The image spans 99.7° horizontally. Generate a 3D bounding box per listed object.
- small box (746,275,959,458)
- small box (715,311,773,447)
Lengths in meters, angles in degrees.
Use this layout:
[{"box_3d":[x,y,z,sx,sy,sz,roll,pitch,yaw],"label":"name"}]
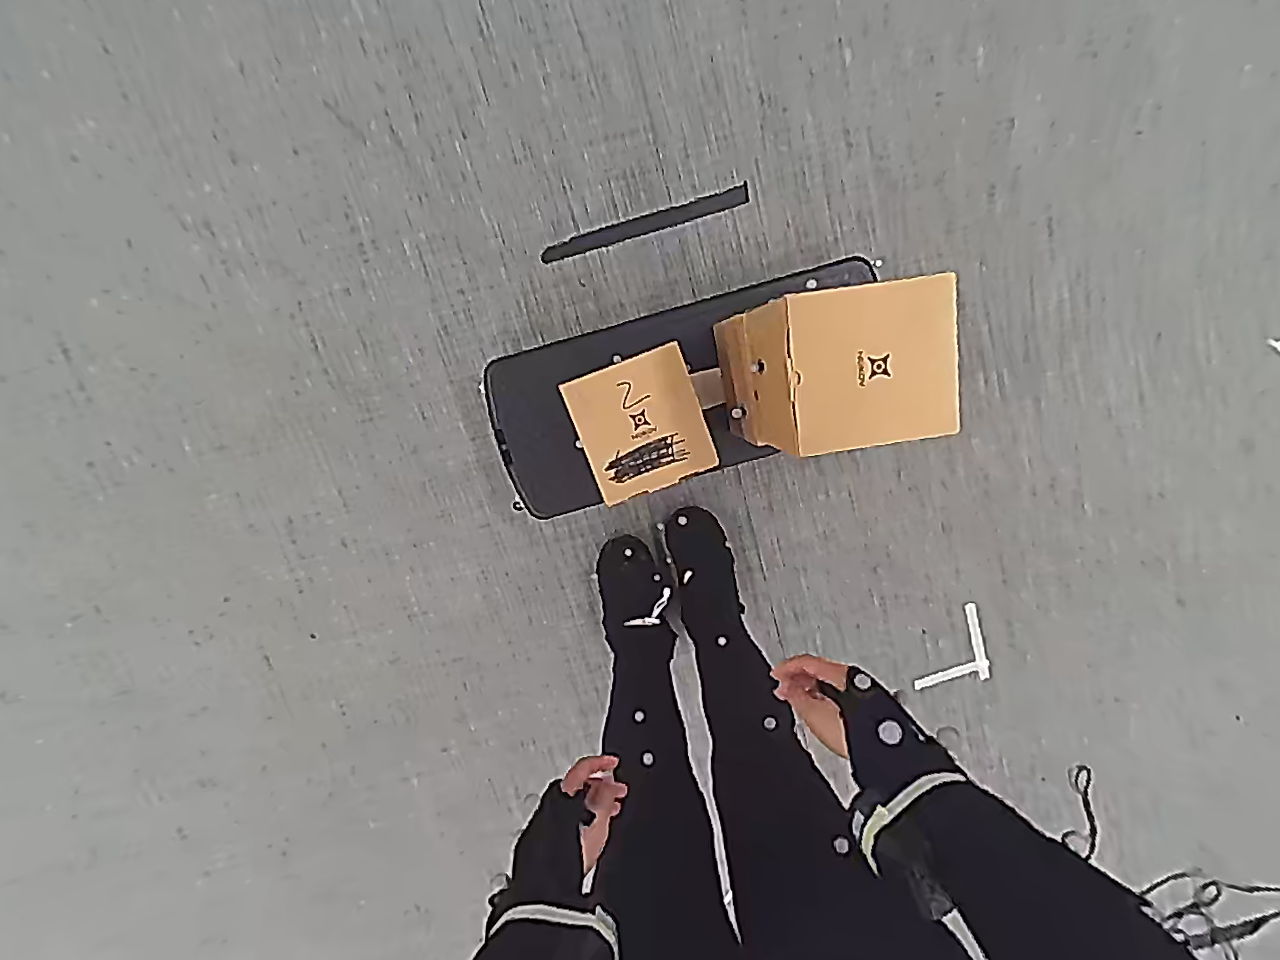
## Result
[{"box_3d":[0.234,-0.130,0.625,0.179,0.176,0.168,-9,102,0],"label":"small box"},{"box_3d":[0.214,-0.159,0.785,0.168,0.176,0.179,-12,101,-1],"label":"small box"}]
